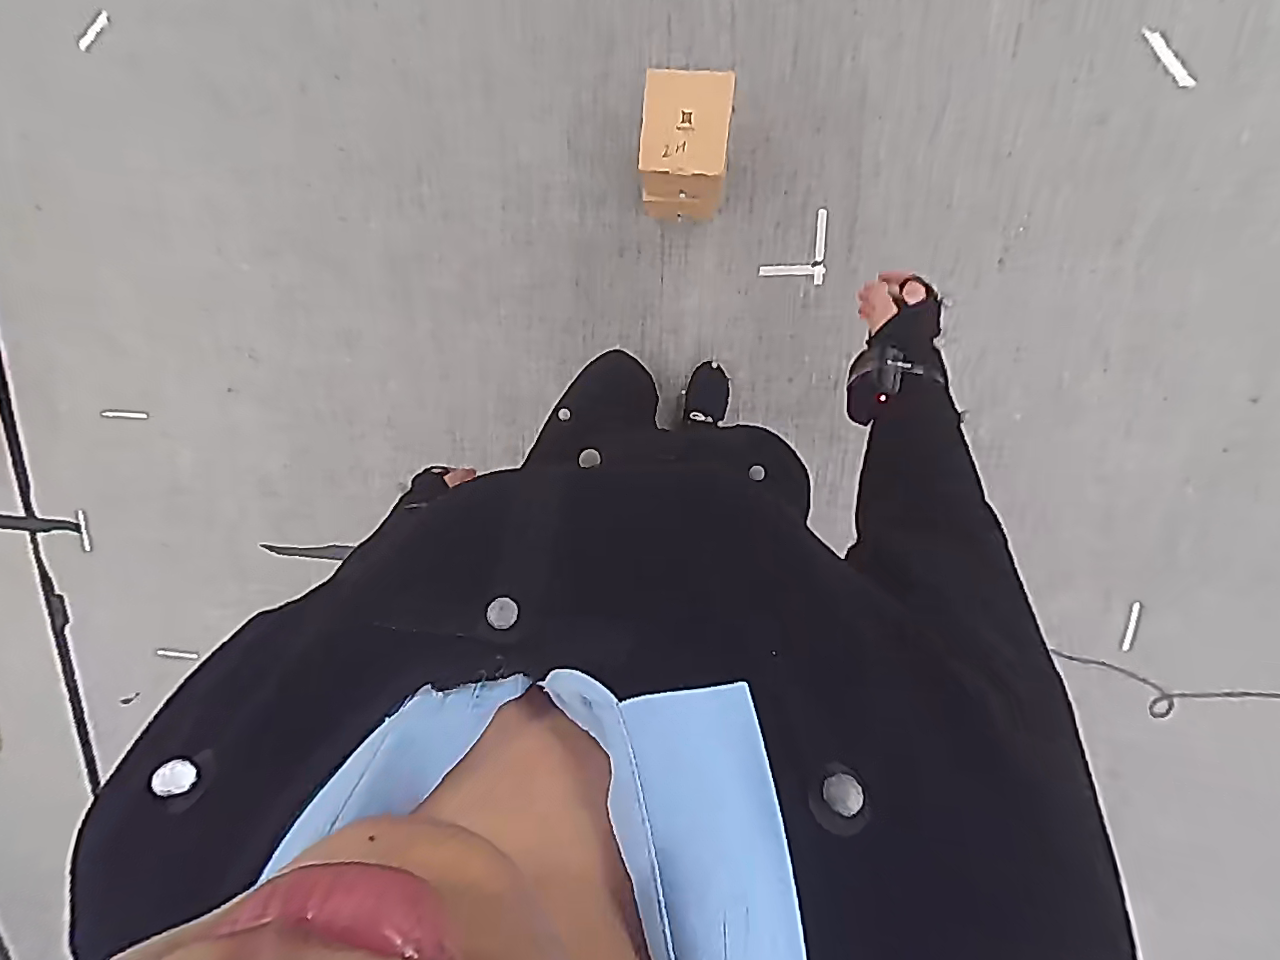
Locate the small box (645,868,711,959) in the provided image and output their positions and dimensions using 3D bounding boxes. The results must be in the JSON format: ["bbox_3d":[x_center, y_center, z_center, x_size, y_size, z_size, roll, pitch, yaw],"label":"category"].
[{"bbox_3d":[0.108,1.205,1.467,0.168,0.176,0.179,-2,101,7],"label":"small box"}]

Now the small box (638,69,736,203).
[{"bbox_3d":[0.094,-0.682,1.086,0.168,0.176,0.179,8,103,6],"label":"small box"}]
